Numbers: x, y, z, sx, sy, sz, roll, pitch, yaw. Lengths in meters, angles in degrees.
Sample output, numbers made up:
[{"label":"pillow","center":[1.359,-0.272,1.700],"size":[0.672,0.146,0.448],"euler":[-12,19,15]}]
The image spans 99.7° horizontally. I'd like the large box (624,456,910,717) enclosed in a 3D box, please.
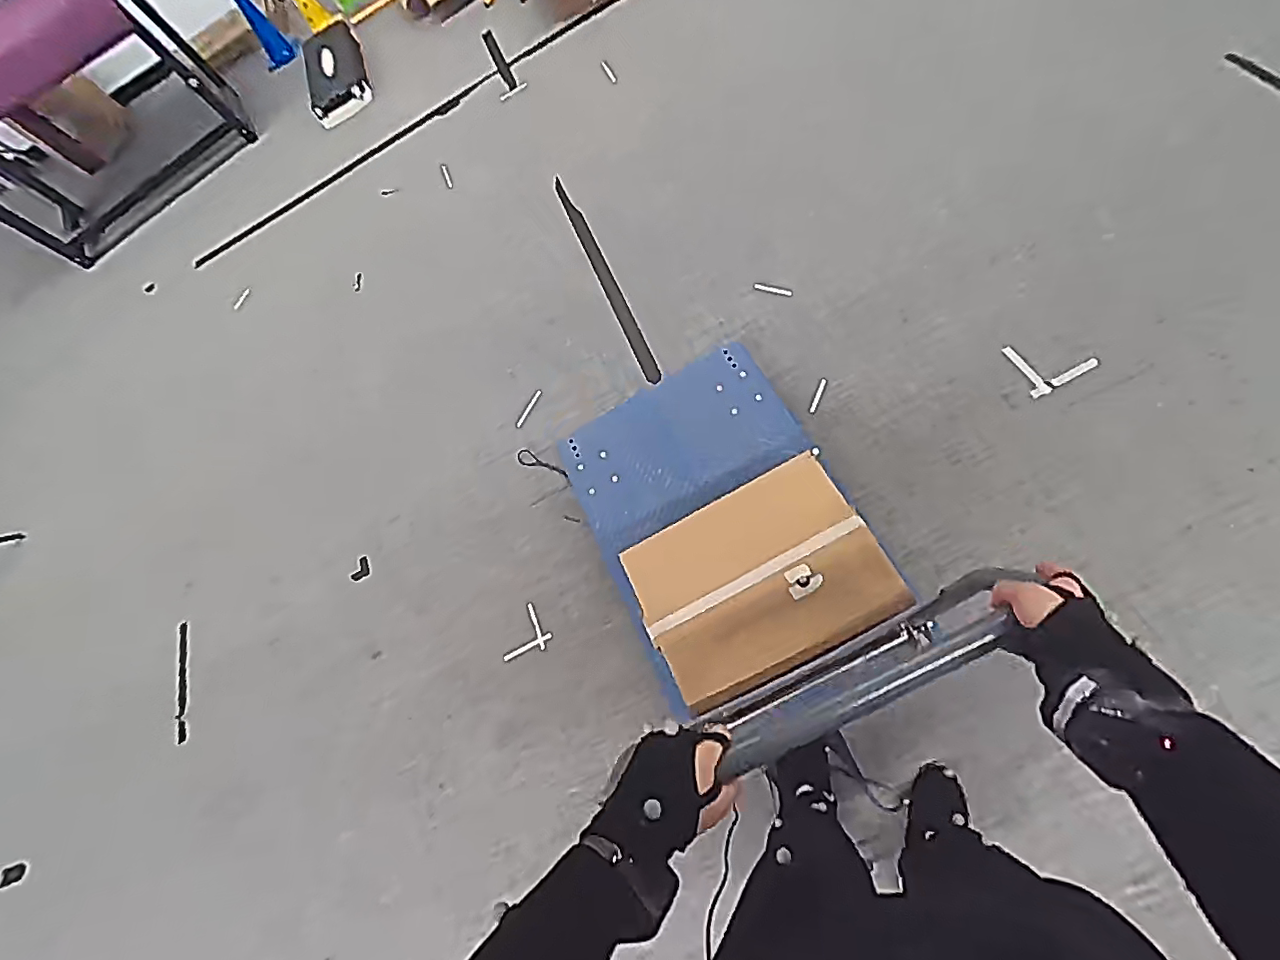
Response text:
[{"label":"large box","center":[0.239,0.227,1.071],"size":[0.408,0.320,0.320],"euler":[-29,64,4]}]
